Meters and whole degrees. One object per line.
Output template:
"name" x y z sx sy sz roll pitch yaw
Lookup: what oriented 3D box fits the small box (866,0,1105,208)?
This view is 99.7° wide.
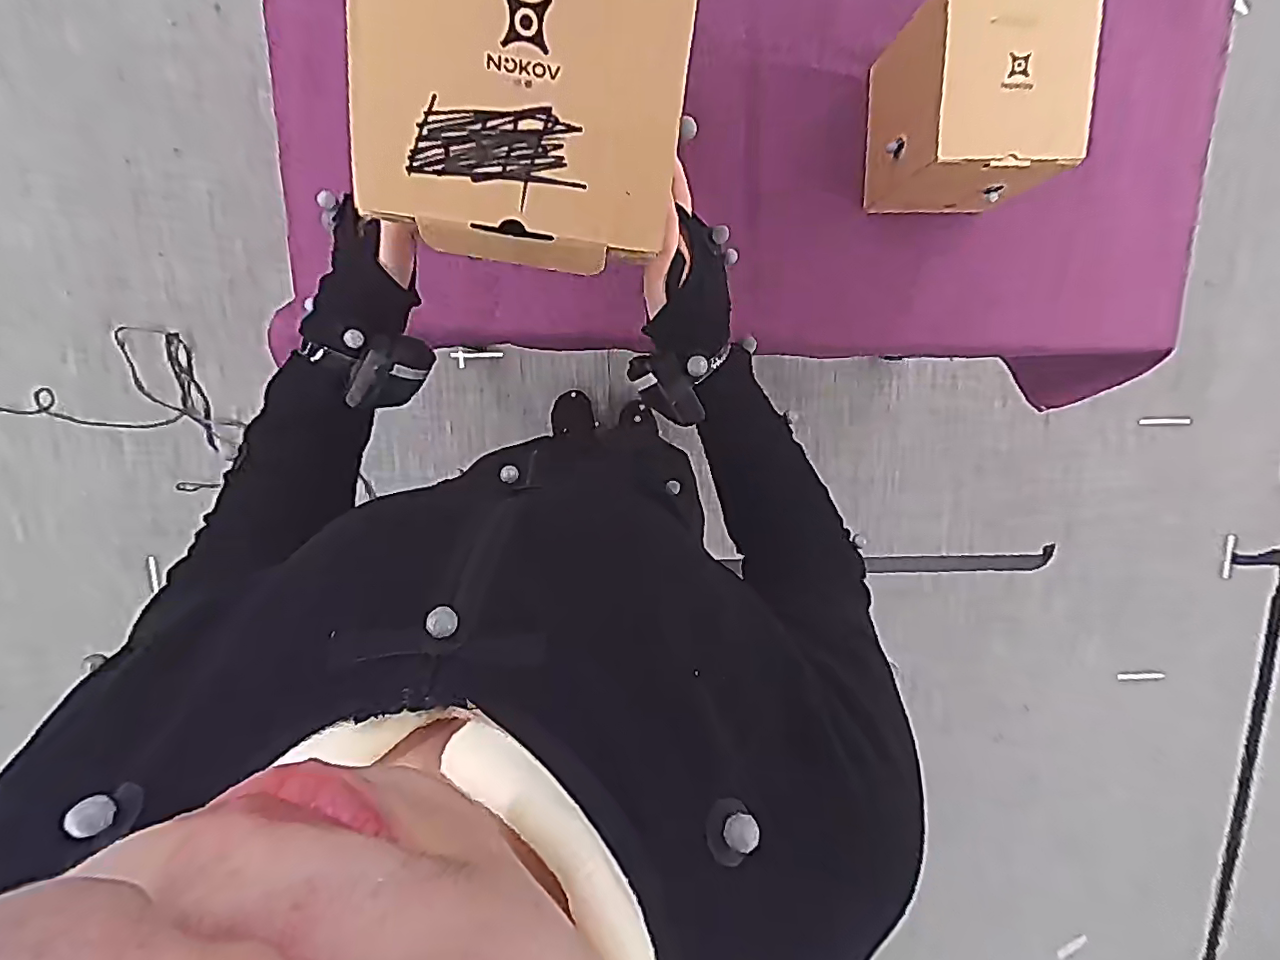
"small box" 0.382 -0.432 0.631 0.168 0.176 0.179 -1 100 -3

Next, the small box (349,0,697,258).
"small box" -0.061 -0.243 0.338 0.168 0.176 0.179 7 109 -6
